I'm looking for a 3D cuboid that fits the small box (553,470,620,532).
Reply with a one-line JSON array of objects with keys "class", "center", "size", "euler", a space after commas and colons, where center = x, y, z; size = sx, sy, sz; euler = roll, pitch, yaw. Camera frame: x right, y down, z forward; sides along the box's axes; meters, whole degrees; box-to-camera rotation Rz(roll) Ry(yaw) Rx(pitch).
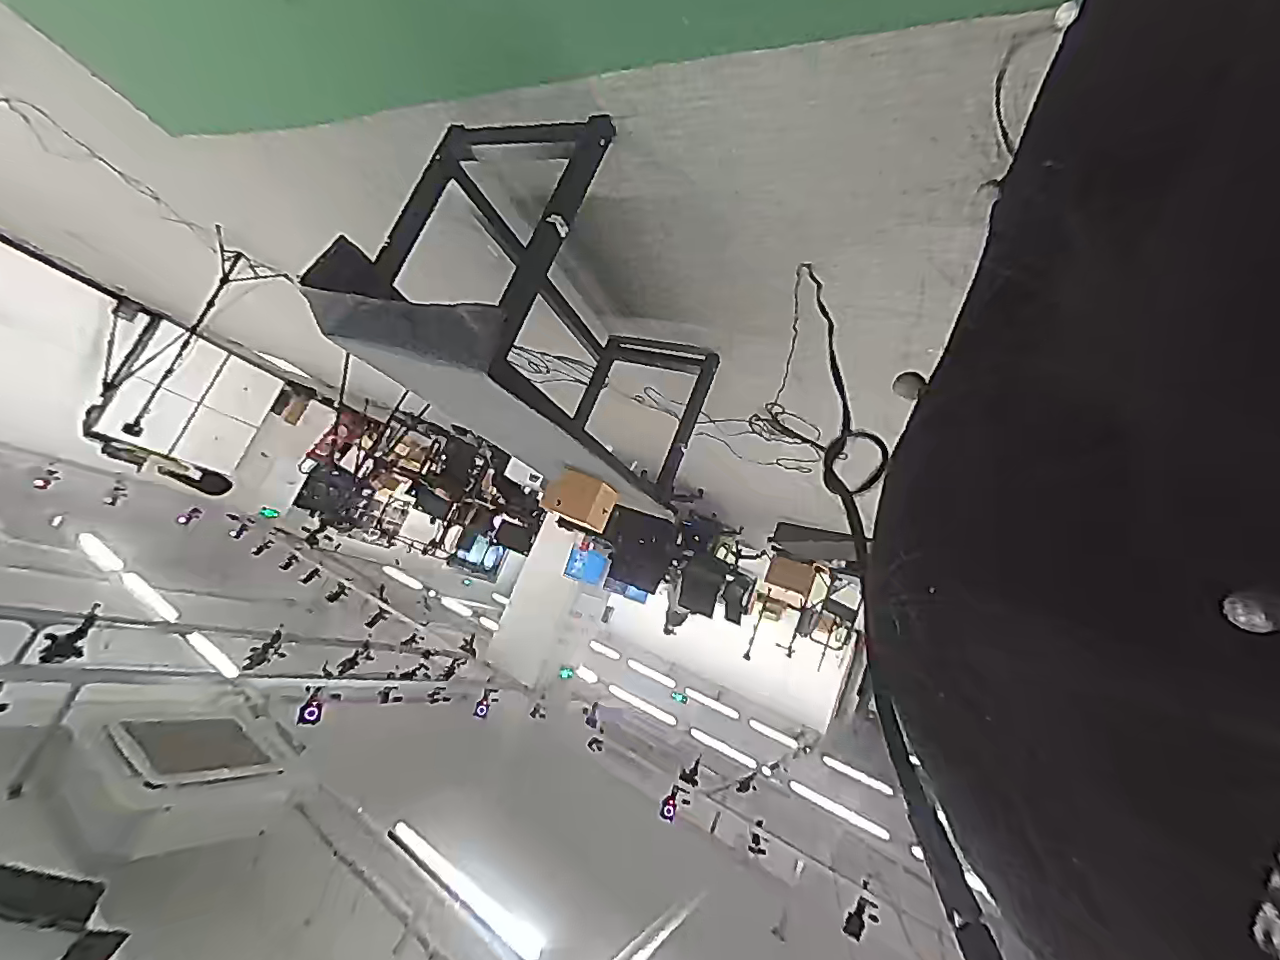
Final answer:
[{"class": "small box", "center": [-0.193, 0.077, 2.030], "size": [0.179, 0.176, 0.168], "euler": [19, 169, 24]}]
